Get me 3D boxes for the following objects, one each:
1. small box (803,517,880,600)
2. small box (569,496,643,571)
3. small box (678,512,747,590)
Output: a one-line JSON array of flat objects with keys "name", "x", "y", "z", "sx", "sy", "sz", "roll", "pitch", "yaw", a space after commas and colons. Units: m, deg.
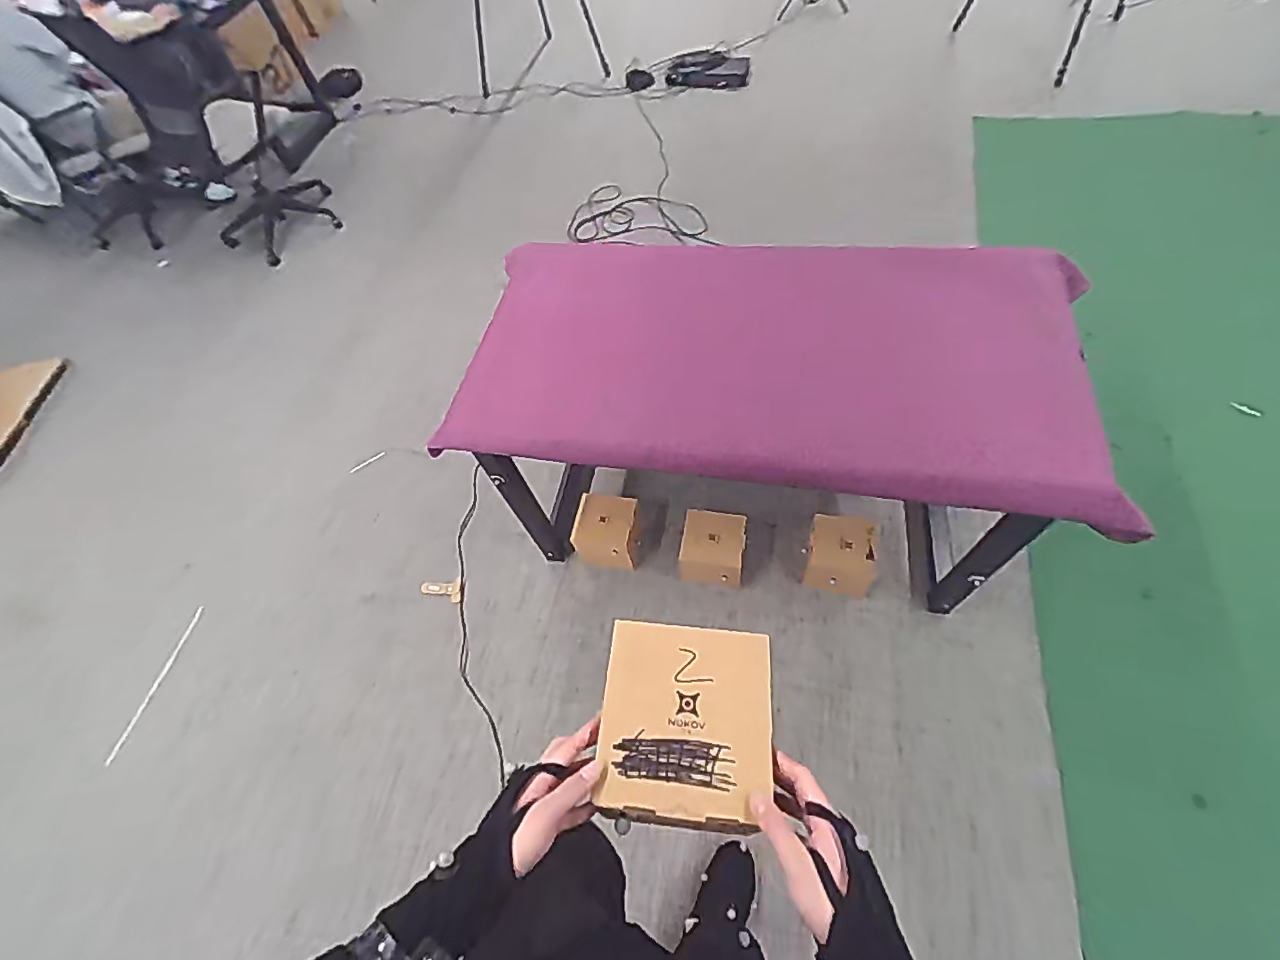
[{"name": "small box", "x": 0.563, "y": 0.225, "z": 1.526, "sx": 0.179, "sy": 0.176, "sz": 0.168, "roll": 9, "pitch": 61, "yaw": 14}, {"name": "small box", "x": -0.097, "y": 0.167, "z": 1.665, "sx": 0.179, "sy": 0.176, "sz": 0.168, "roll": 6, "pitch": 60, "yaw": 12}, {"name": "small box", "x": 0.216, "y": 0.213, "z": 1.588, "sx": 0.179, "sy": 0.176, "sz": 0.168, "roll": 6, "pitch": 59, "yaw": 13}]
